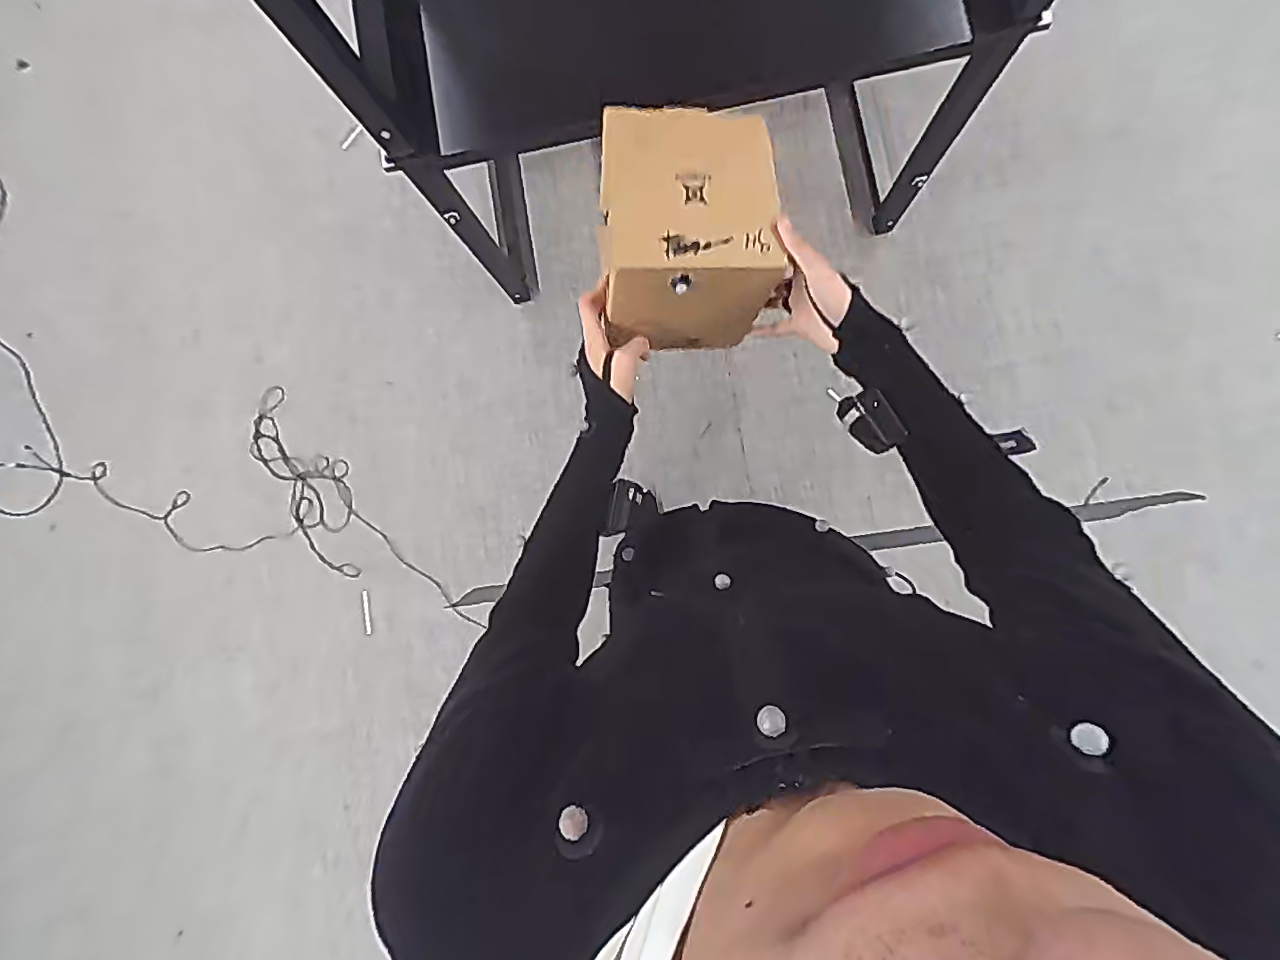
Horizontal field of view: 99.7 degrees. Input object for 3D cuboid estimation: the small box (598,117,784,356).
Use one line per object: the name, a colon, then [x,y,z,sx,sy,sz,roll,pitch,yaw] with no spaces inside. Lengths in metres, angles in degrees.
small box: [0.041,-0.256,0.598,0.168,0.176,0.179,-2,76,-7]
